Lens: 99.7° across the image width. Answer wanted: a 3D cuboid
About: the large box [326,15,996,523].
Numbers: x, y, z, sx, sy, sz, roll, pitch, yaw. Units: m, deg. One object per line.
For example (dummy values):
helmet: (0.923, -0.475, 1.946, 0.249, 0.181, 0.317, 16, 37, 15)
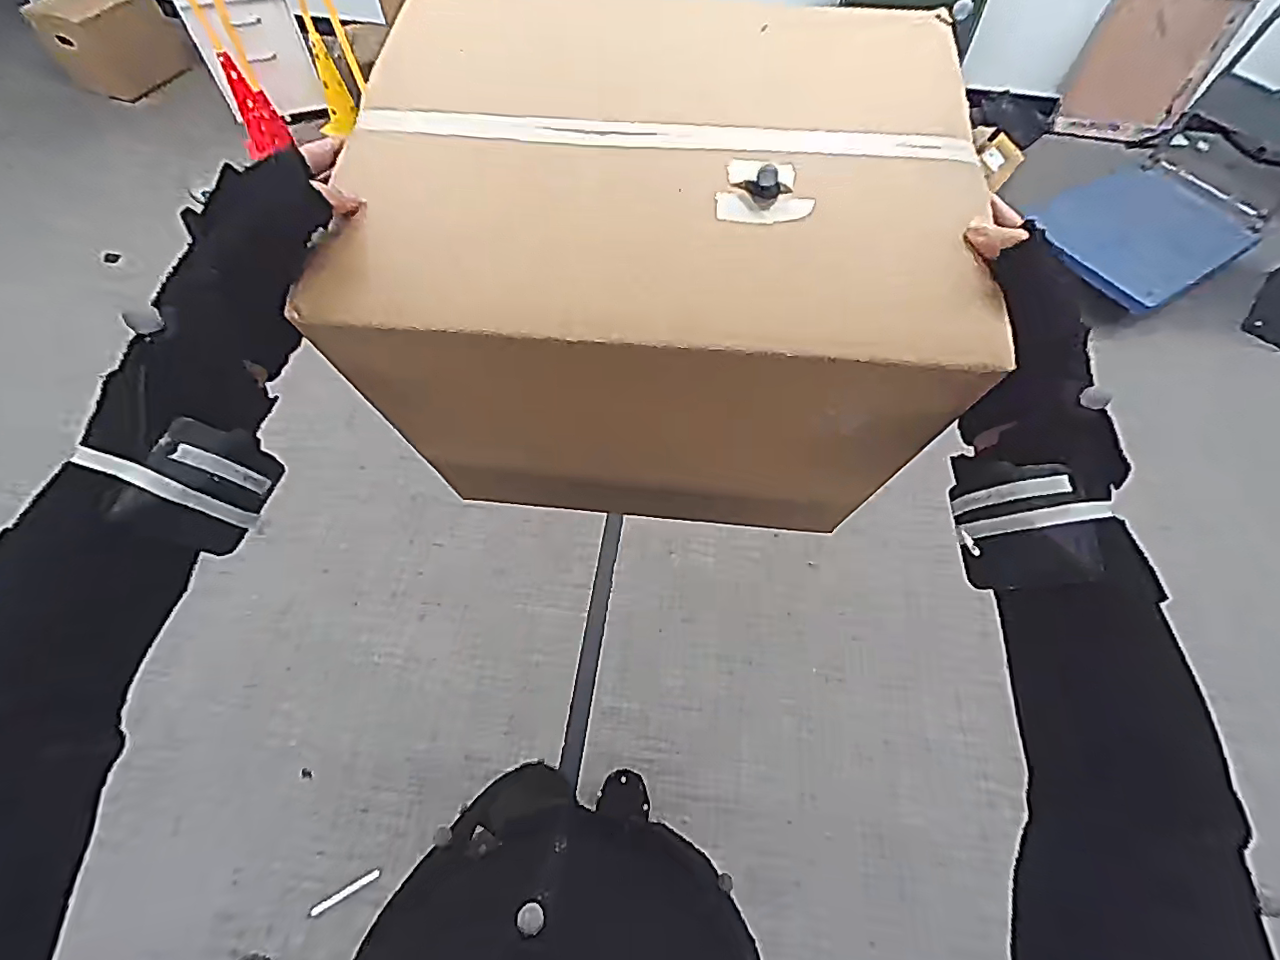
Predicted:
large box: (0.019, -0.161, 0.507, 0.408, 0.320, 0.320, 5, 69, 2)
